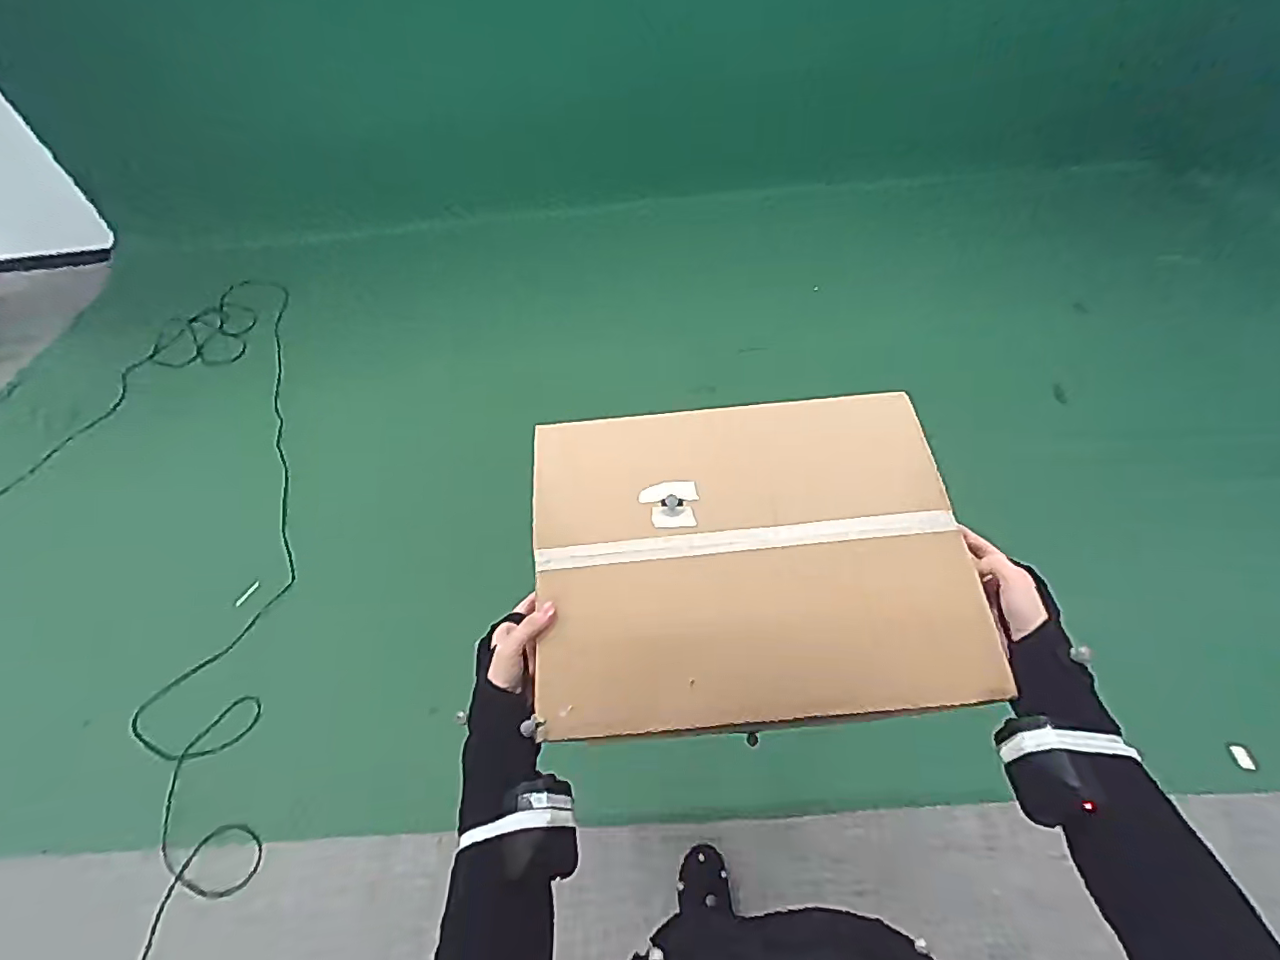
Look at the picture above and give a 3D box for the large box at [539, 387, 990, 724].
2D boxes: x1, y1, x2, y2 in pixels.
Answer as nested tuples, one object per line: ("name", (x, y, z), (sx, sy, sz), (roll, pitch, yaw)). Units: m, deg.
("large box", (0.109, 0.117, 0.671), (0.408, 0.320, 0.320), (-6, 64, 2))
